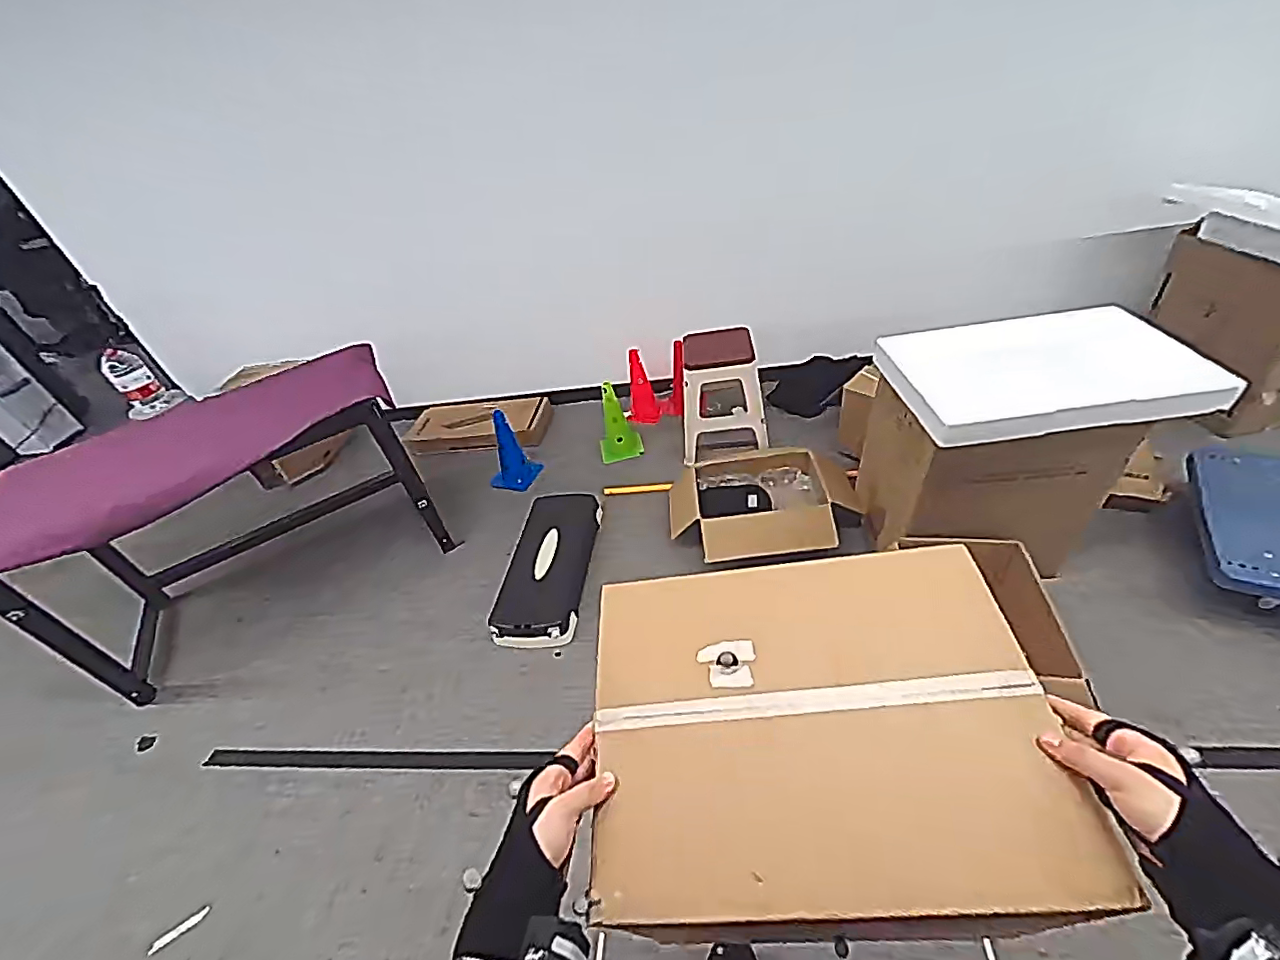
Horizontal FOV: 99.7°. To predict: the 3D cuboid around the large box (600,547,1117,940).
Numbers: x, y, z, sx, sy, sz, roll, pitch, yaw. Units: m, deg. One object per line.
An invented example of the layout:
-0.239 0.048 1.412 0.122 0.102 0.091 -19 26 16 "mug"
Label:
0.188 0.317 0.629 0.408 0.320 0.320 -9 45 8 "large box"
